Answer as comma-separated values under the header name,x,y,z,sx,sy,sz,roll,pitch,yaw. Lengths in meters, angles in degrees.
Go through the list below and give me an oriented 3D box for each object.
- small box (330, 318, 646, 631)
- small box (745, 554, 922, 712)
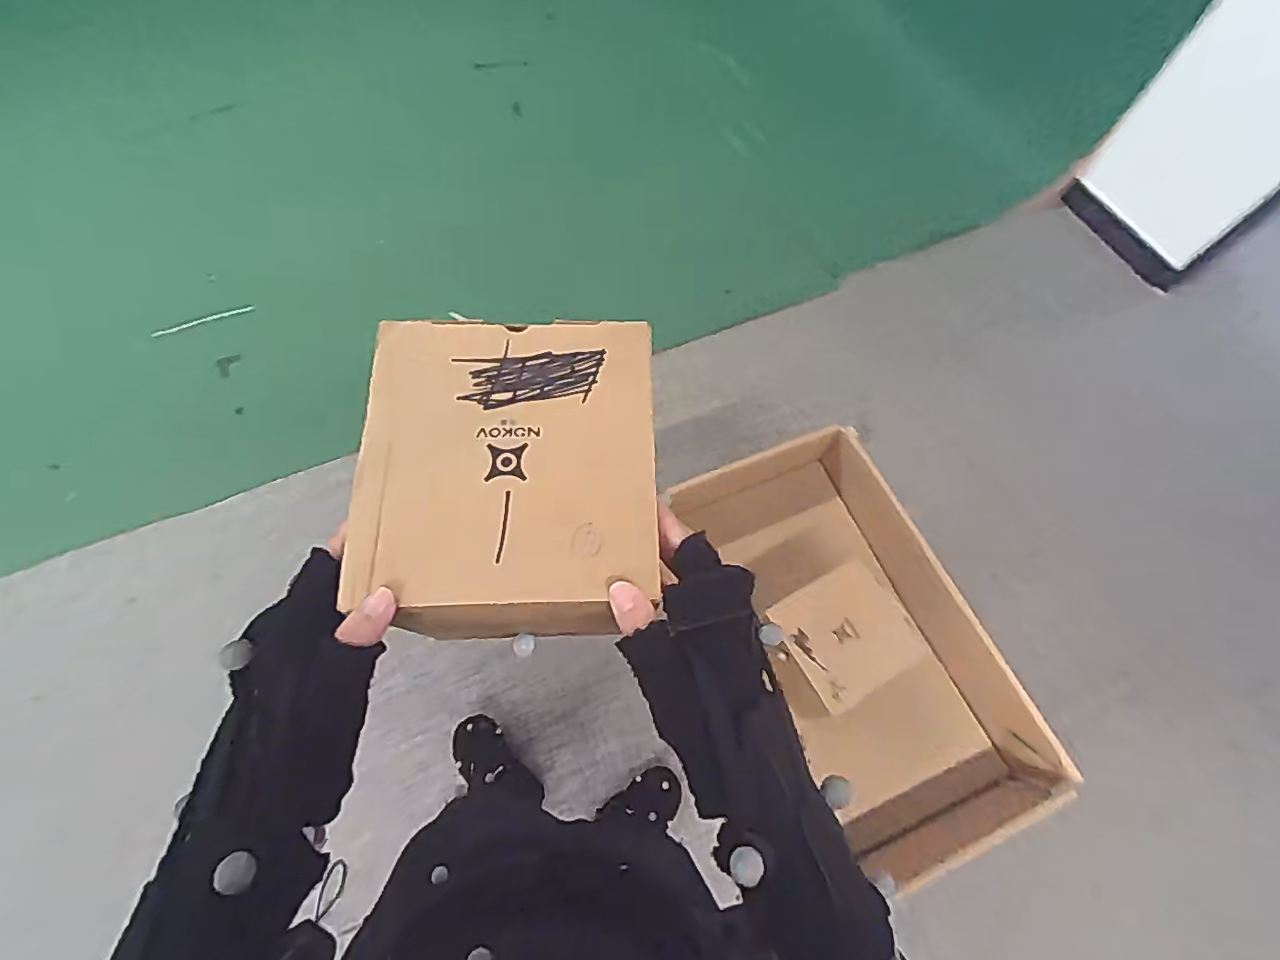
name,x,y,z,sx,sy,sz,roll,pitch,yaw
small box,-0.085,0.007,0.386,0.168,0.176,0.179,-1,69,-3
small box,0.290,0.245,0.853,0.179,0.176,0.168,-27,68,-12
